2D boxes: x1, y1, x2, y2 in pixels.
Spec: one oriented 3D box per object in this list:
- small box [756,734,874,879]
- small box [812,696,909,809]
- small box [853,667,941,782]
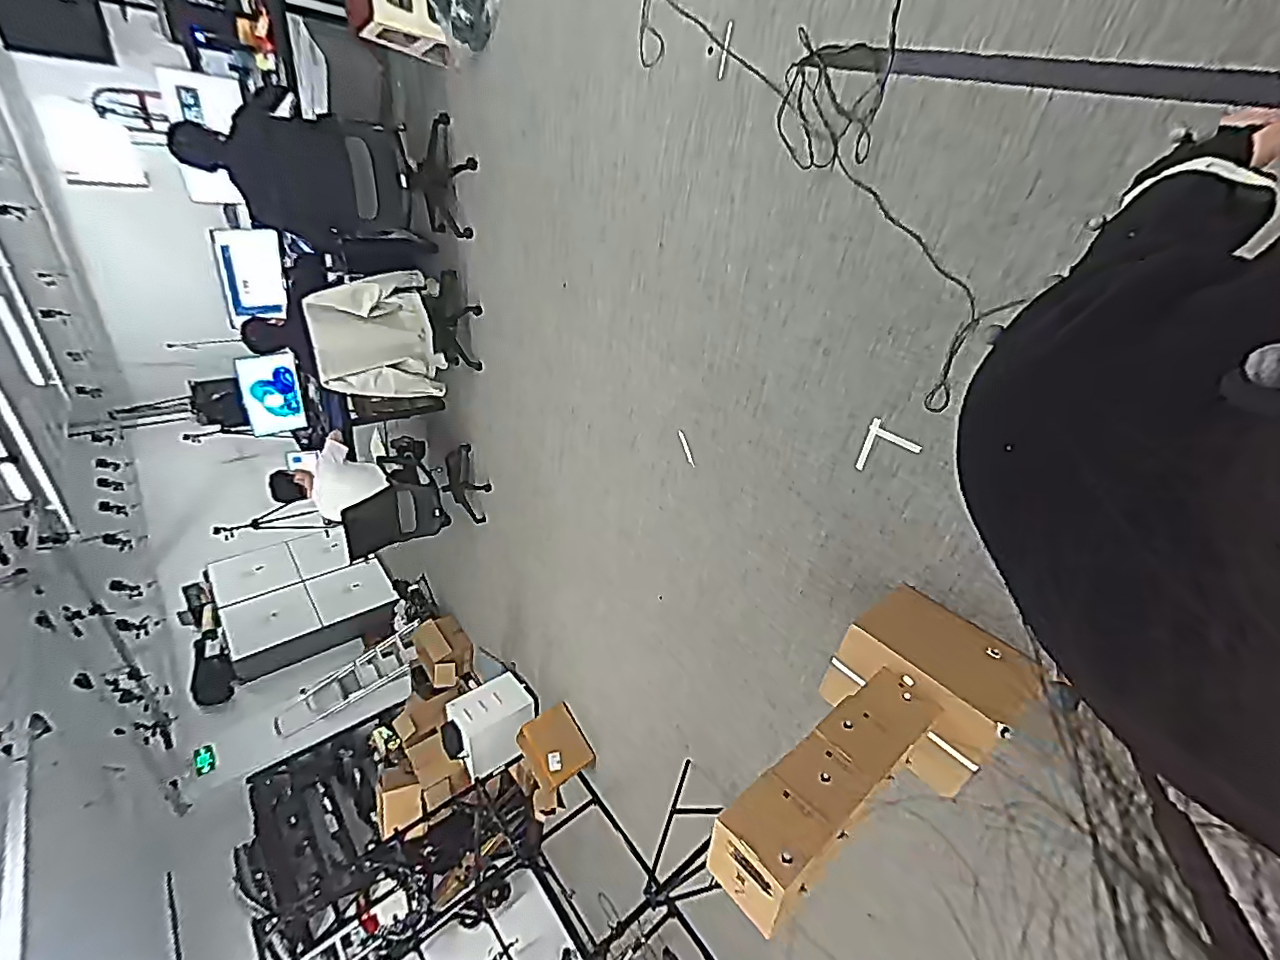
[{"bbox_3d":[0.383,0.702,1.183,0.168,0.176,0.179,31,127,42],"label":"small box"},{"bbox_3d":[0.507,0.655,1.282,0.168,0.176,0.179,35,131,39],"label":"small box"},{"bbox_3d":[0.632,0.620,1.379,0.168,0.176,0.179,35,130,38],"label":"small box"}]
